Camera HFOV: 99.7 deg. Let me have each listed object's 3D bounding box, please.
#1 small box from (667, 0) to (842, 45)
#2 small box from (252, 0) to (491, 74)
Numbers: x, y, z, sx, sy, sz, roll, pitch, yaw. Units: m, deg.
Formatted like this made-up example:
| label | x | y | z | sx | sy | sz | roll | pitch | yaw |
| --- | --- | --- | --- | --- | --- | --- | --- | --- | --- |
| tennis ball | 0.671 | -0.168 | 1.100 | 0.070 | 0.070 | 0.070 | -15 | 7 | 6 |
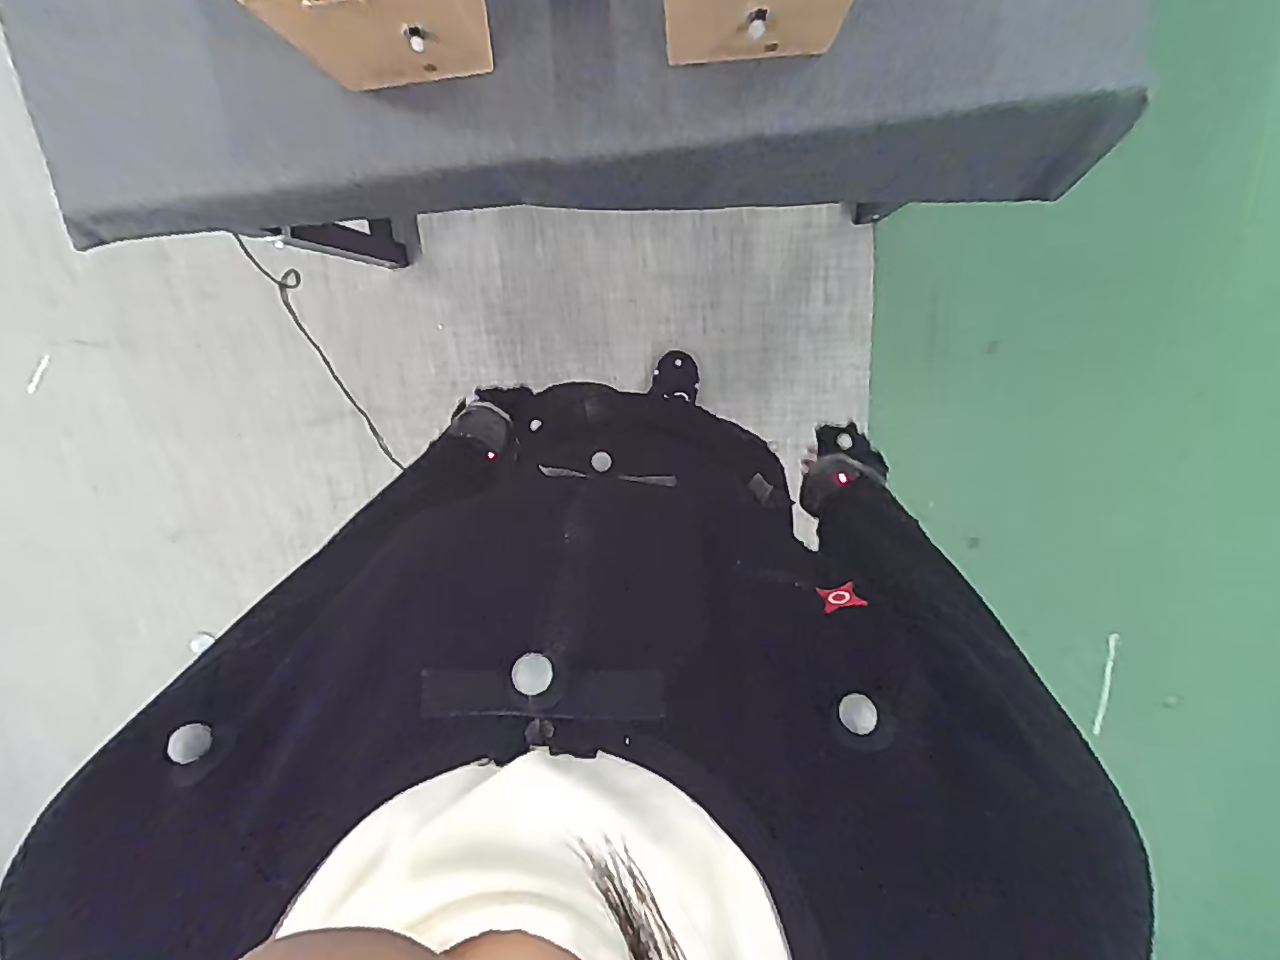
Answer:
| label | x | y | z | sx | sy | sz | roll | pitch | yaw |
| --- | --- | --- | --- | --- | --- | --- | --- | --- | --- |
| small box | 0.103 | -0.509 | 0.461 | 0.168 | 0.176 | 0.179 | -2 | 105 | 5 |
| small box | -0.248 | -0.505 | 0.491 | 0.168 | 0.176 | 0.179 | -5 | 102 | 4 |
